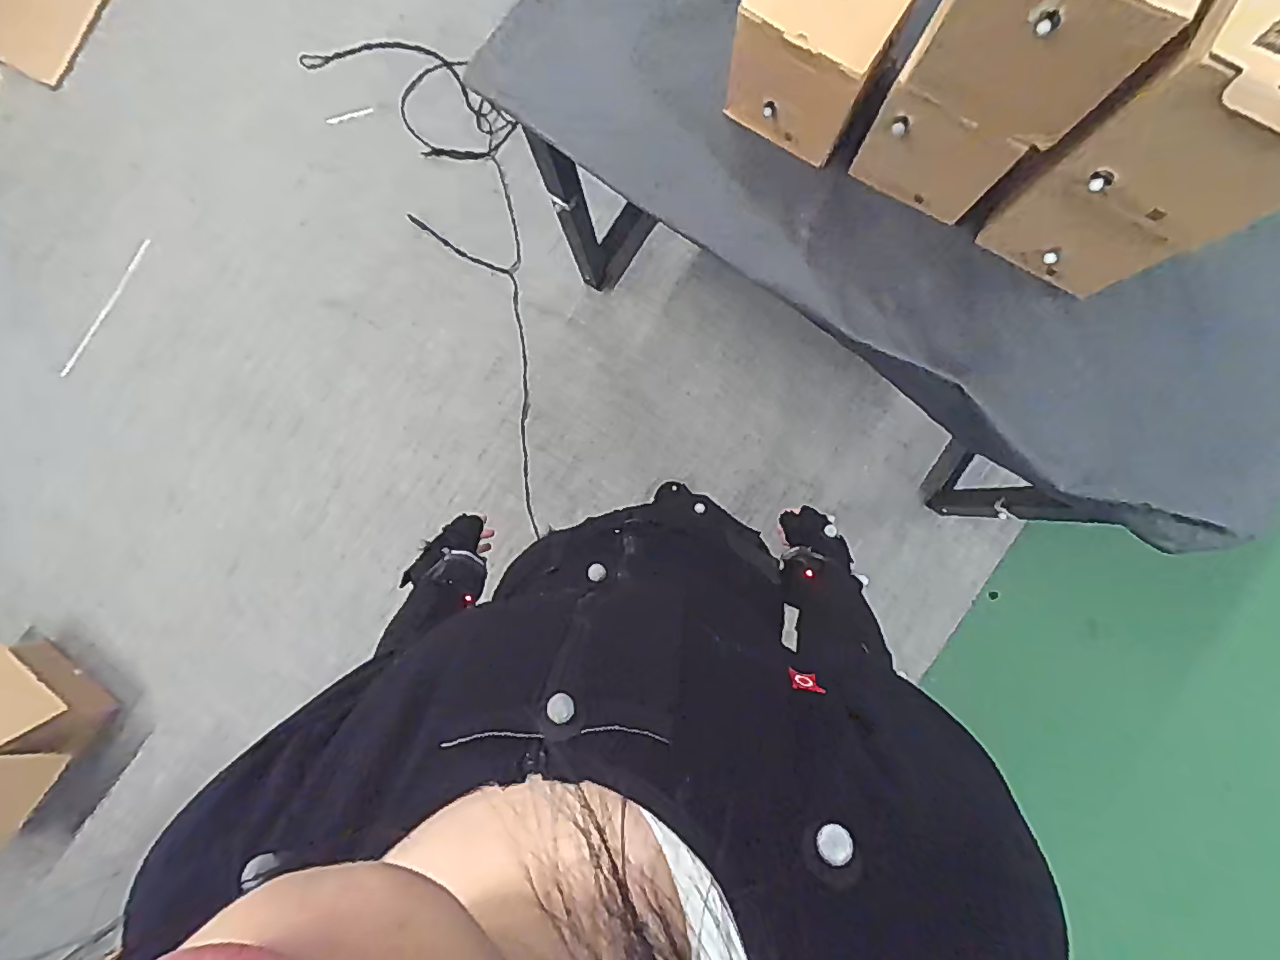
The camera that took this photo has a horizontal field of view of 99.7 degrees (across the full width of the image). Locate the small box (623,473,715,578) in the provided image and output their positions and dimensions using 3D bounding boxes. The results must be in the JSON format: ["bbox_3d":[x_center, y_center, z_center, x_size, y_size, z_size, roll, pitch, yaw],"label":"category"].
[{"bbox_3d":[0.071,0.120,1.413,0.179,0.176,0.168,-32,58,-21],"label":"small box"}]
